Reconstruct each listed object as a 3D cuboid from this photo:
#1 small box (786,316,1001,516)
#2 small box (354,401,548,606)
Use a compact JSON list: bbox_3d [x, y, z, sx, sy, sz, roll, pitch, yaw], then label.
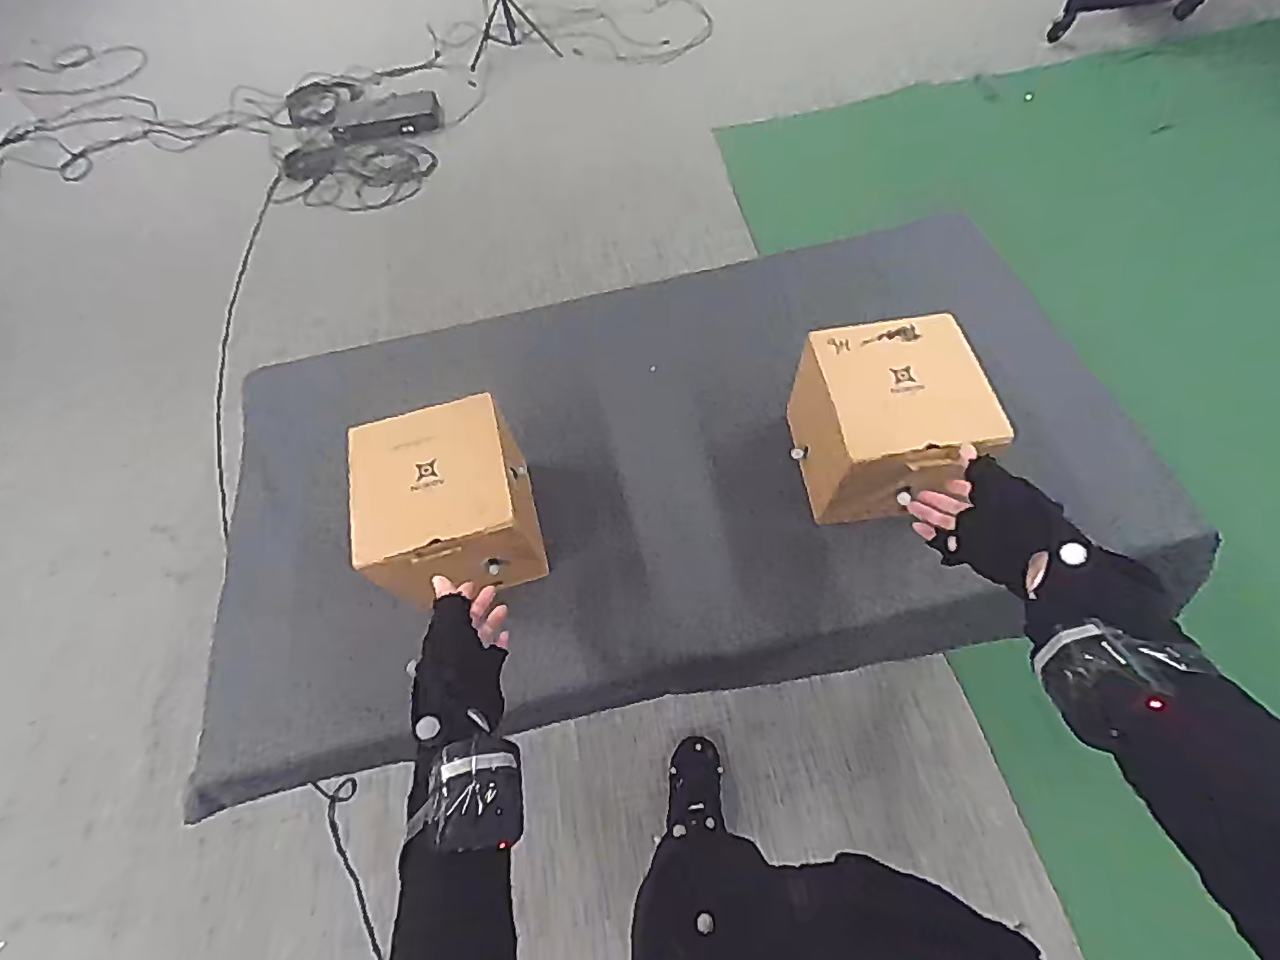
[{"bbox_3d":[0.286,-0.066,0.657,0.168,0.176,0.179,-8,63,2],"label":"small box"},{"bbox_3d":[-0.220,0.039,0.657,0.168,0.176,0.179,-17,61,-5],"label":"small box"}]
